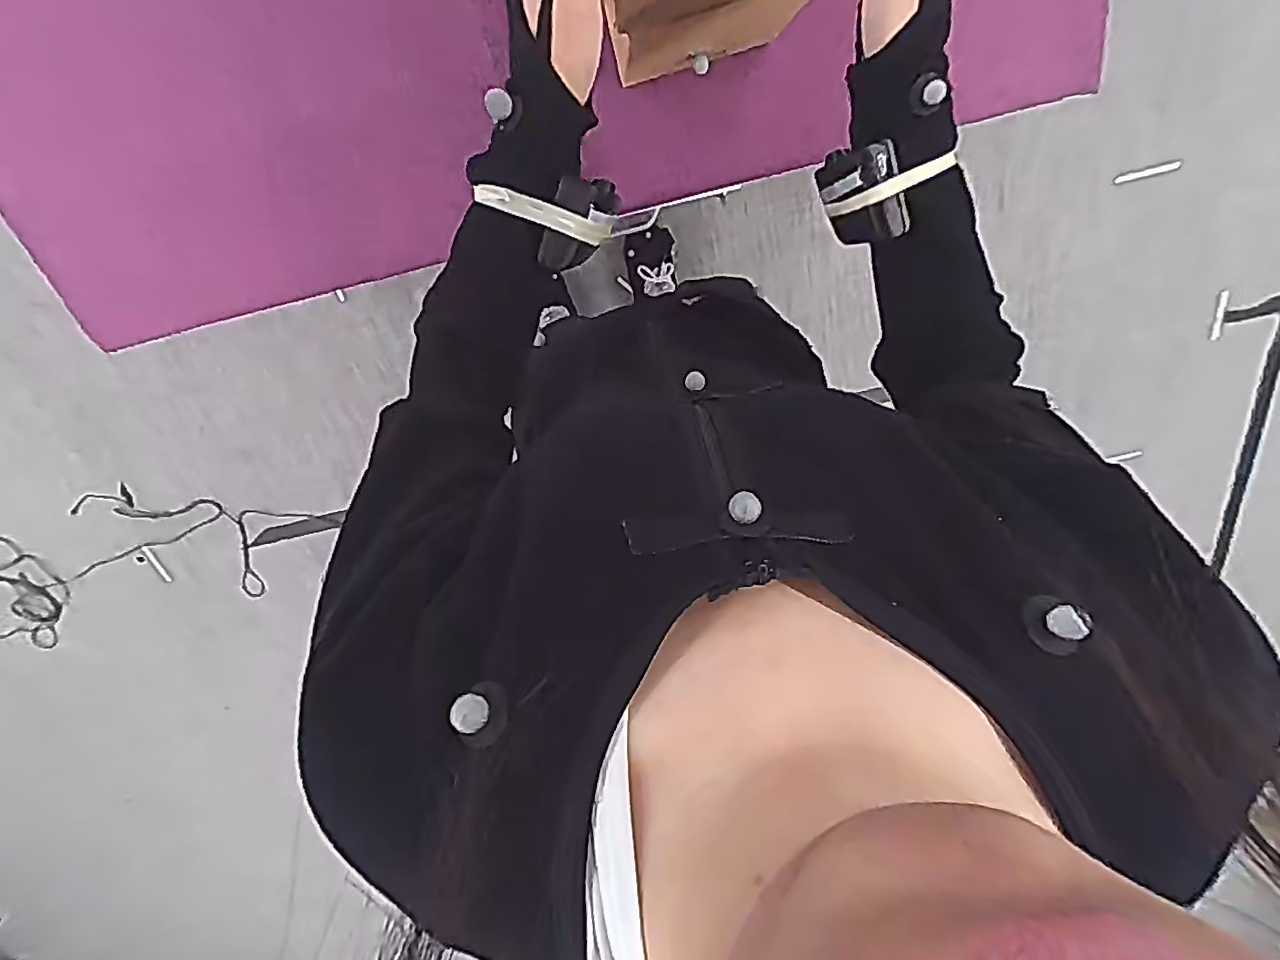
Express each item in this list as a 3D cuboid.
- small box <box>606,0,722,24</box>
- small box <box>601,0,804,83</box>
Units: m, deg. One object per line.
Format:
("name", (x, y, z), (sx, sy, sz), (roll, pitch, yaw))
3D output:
("small box", (0.048, -0.413, 0.318), (0.179, 0.176, 0.168), (-14, 115, 4))
("small box", (0.040, -0.482, 0.465), (0.168, 0.176, 0.179), (-14, 116, 3))
